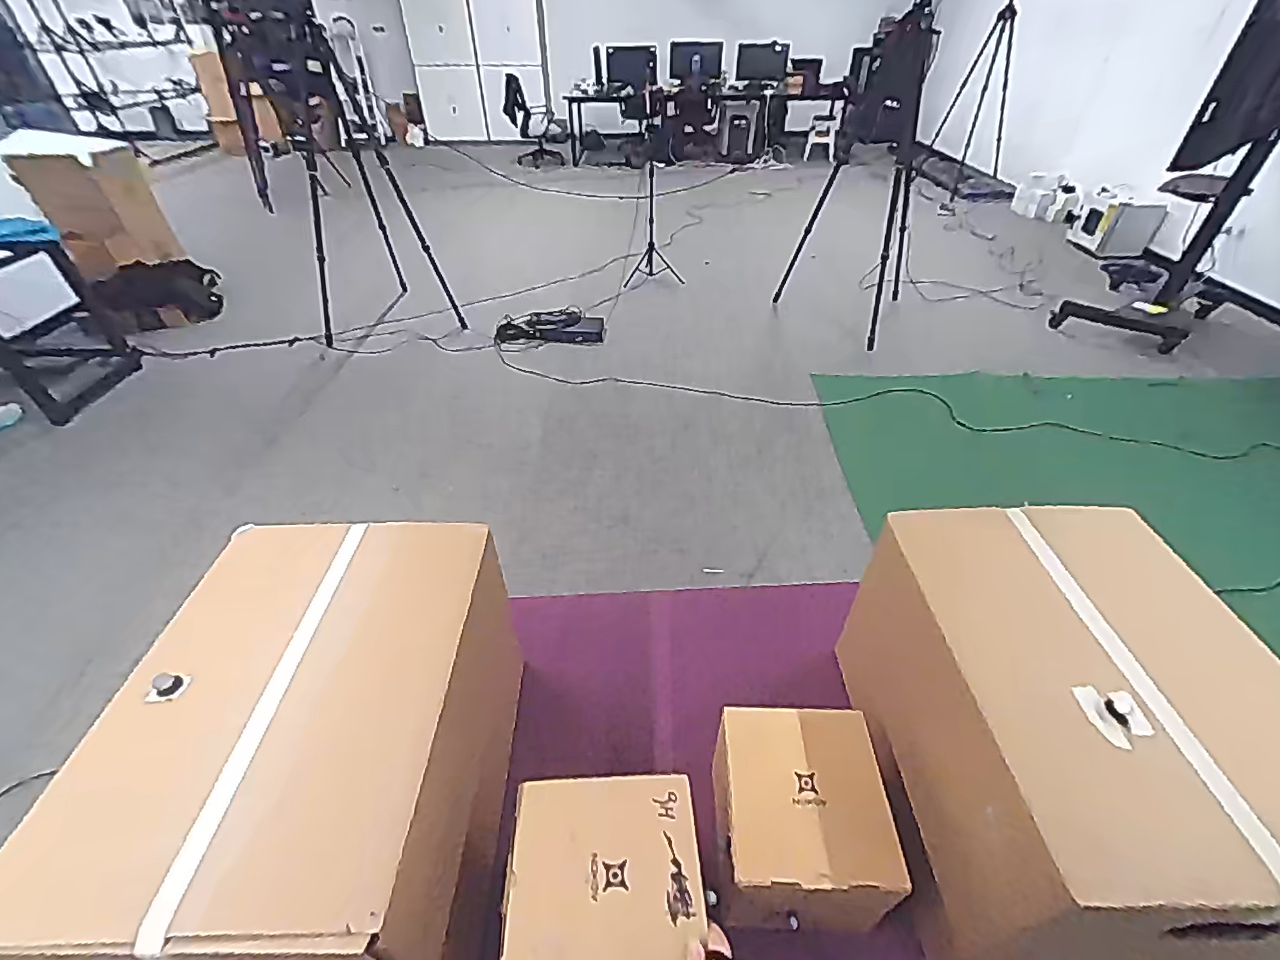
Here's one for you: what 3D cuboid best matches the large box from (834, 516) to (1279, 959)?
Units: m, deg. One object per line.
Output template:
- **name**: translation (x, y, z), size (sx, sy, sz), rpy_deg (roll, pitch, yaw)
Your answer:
- **large box**: translation (0.468, 0.292, 0.644), size (0.320, 0.320, 0.408), rpy_deg (0, 42, 0)
